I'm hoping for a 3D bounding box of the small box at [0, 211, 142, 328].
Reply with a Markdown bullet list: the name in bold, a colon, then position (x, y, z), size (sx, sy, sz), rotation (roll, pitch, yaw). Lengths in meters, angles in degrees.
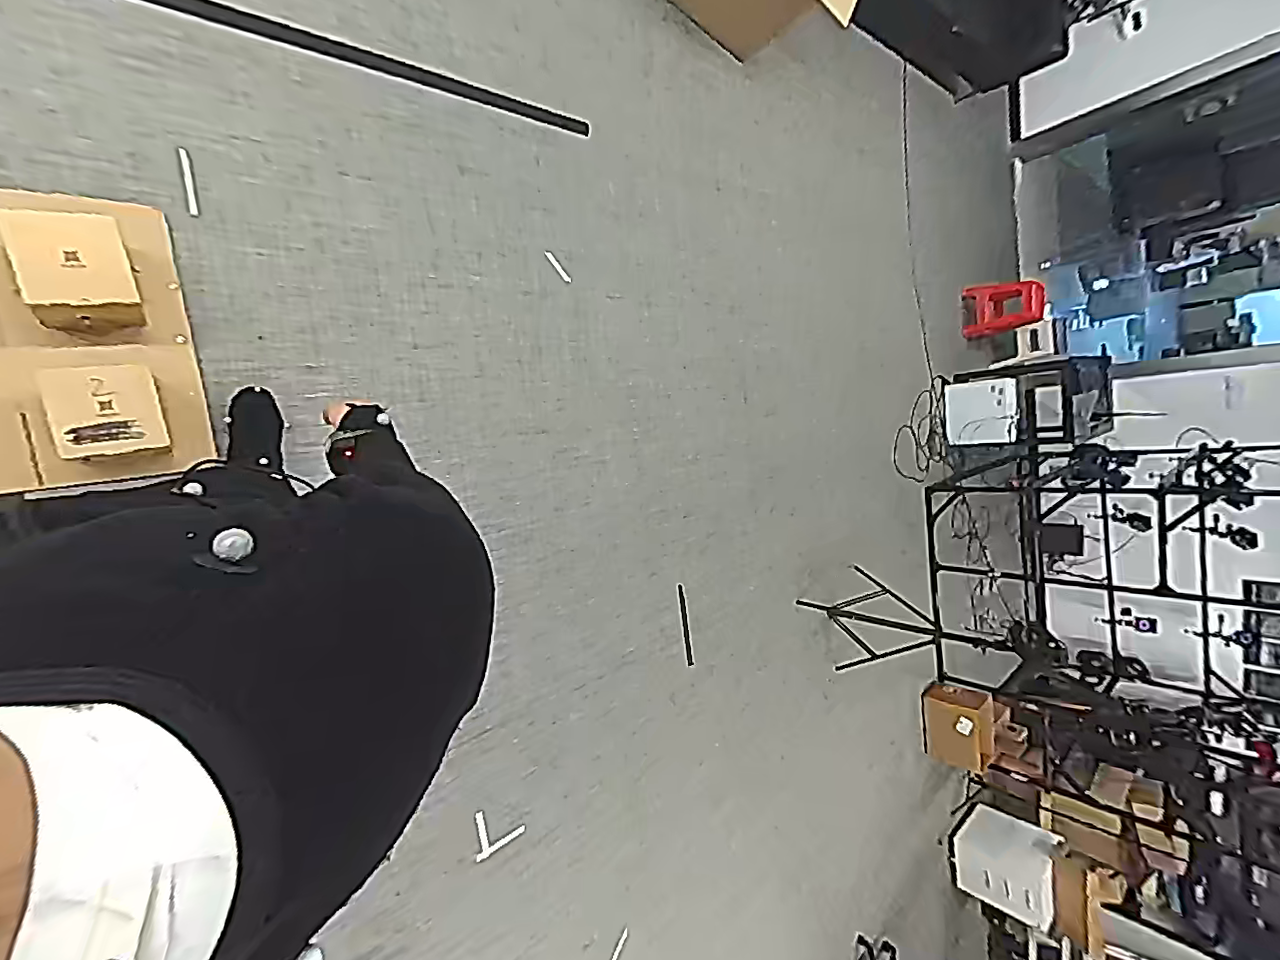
- **small box**: position (-1.146, -0.418, 1.095), size (0.168, 0.176, 0.179), rotation (-18, 101, -38)
